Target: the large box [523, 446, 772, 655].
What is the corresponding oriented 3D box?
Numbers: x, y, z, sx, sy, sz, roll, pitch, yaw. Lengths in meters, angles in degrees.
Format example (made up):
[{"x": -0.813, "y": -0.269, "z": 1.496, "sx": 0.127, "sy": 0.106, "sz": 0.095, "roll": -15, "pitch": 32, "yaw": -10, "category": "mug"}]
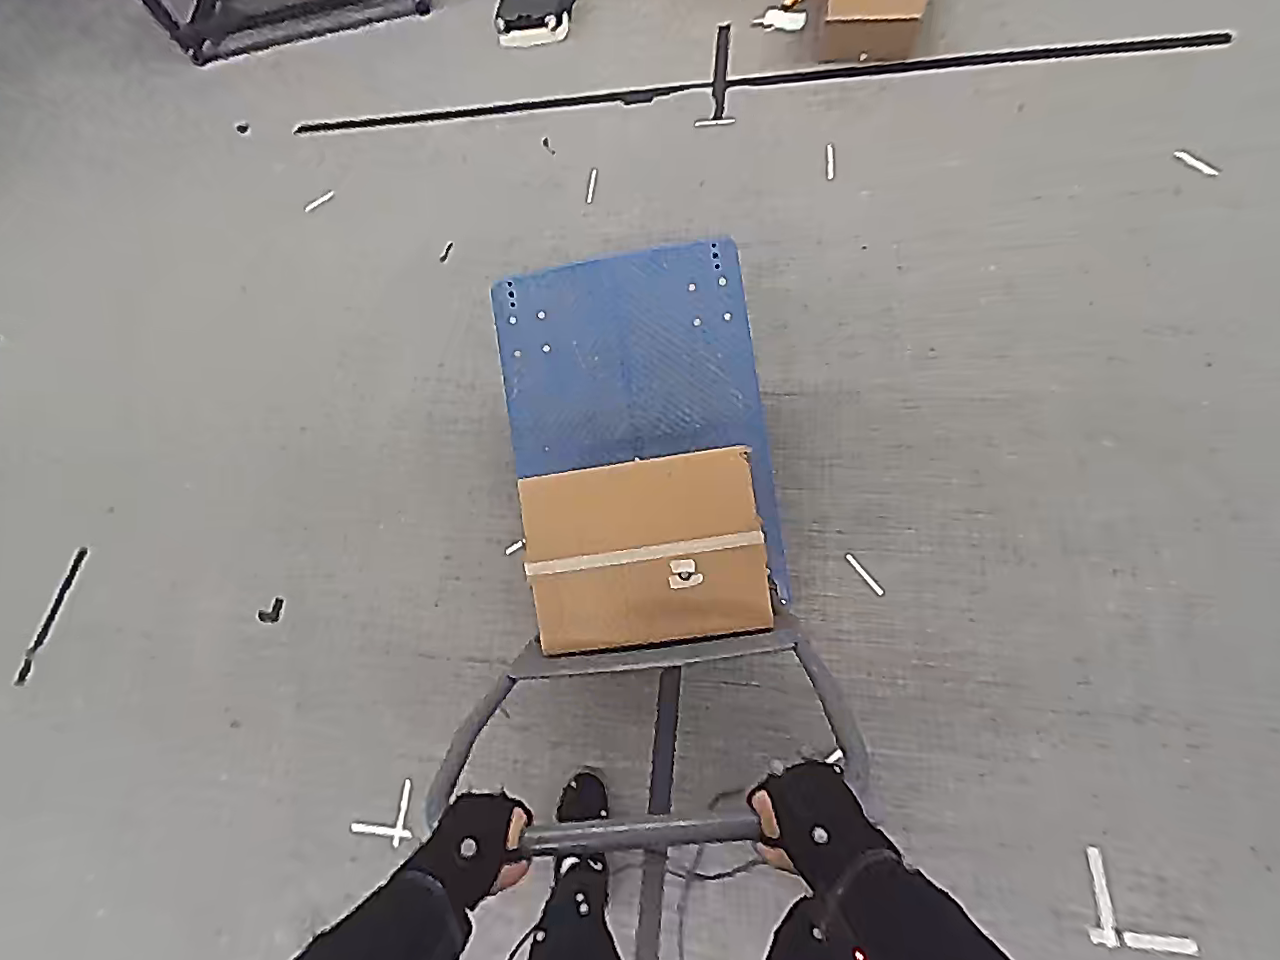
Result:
[{"x": 0.020, "y": 0.130, "z": 1.096, "sx": 0.408, "sy": 0.320, "sz": 0.320, "roll": -10, "pitch": 89, "yaw": 4, "category": "large box"}]
